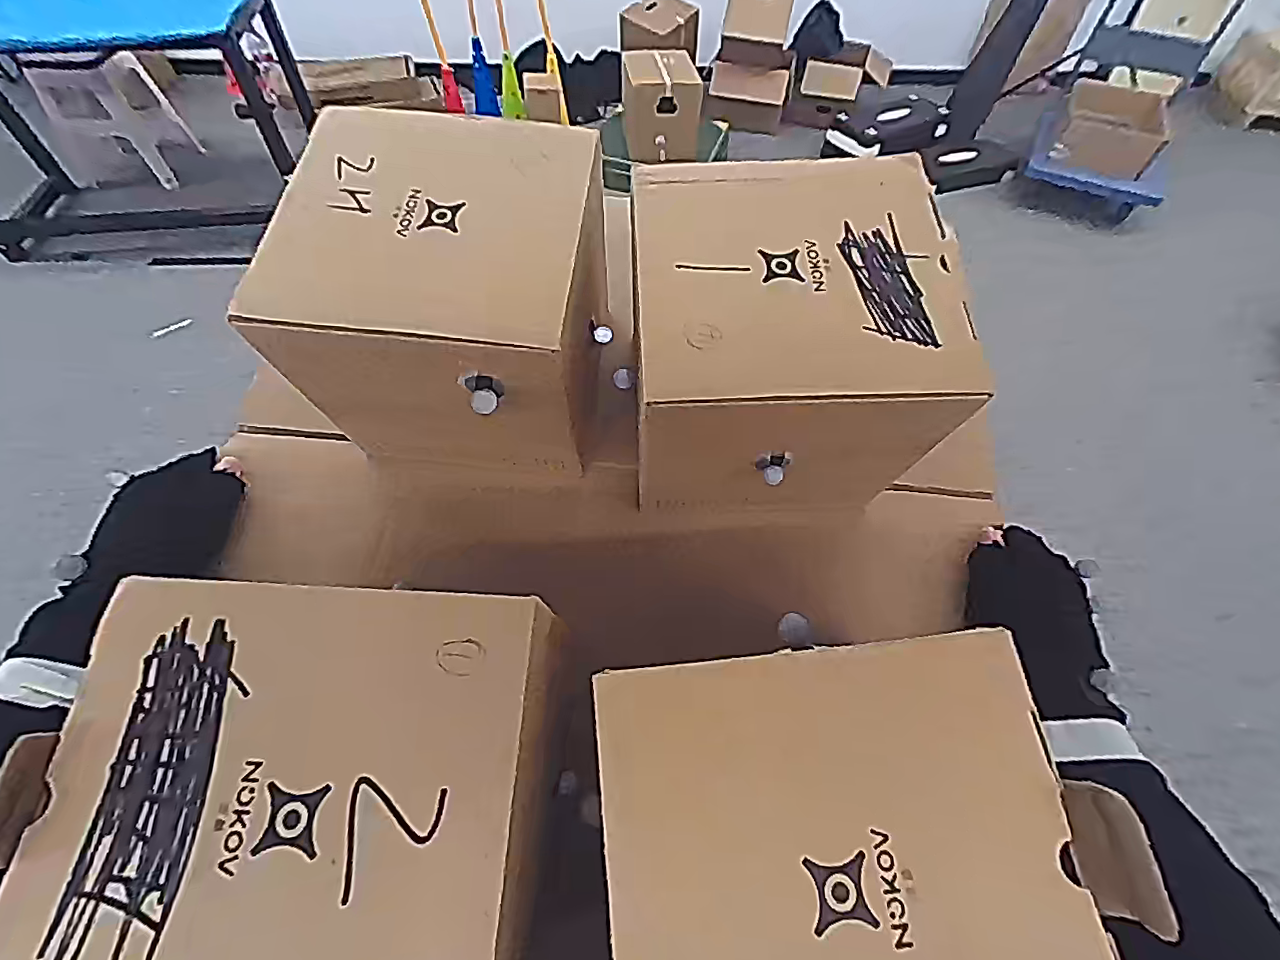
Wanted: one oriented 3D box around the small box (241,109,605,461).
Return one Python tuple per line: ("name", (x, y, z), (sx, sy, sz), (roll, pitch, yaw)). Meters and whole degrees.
("small box", (-0.123, -0.125, 0.393), (0.179, 0.176, 0.168), (6, 67, 2))
